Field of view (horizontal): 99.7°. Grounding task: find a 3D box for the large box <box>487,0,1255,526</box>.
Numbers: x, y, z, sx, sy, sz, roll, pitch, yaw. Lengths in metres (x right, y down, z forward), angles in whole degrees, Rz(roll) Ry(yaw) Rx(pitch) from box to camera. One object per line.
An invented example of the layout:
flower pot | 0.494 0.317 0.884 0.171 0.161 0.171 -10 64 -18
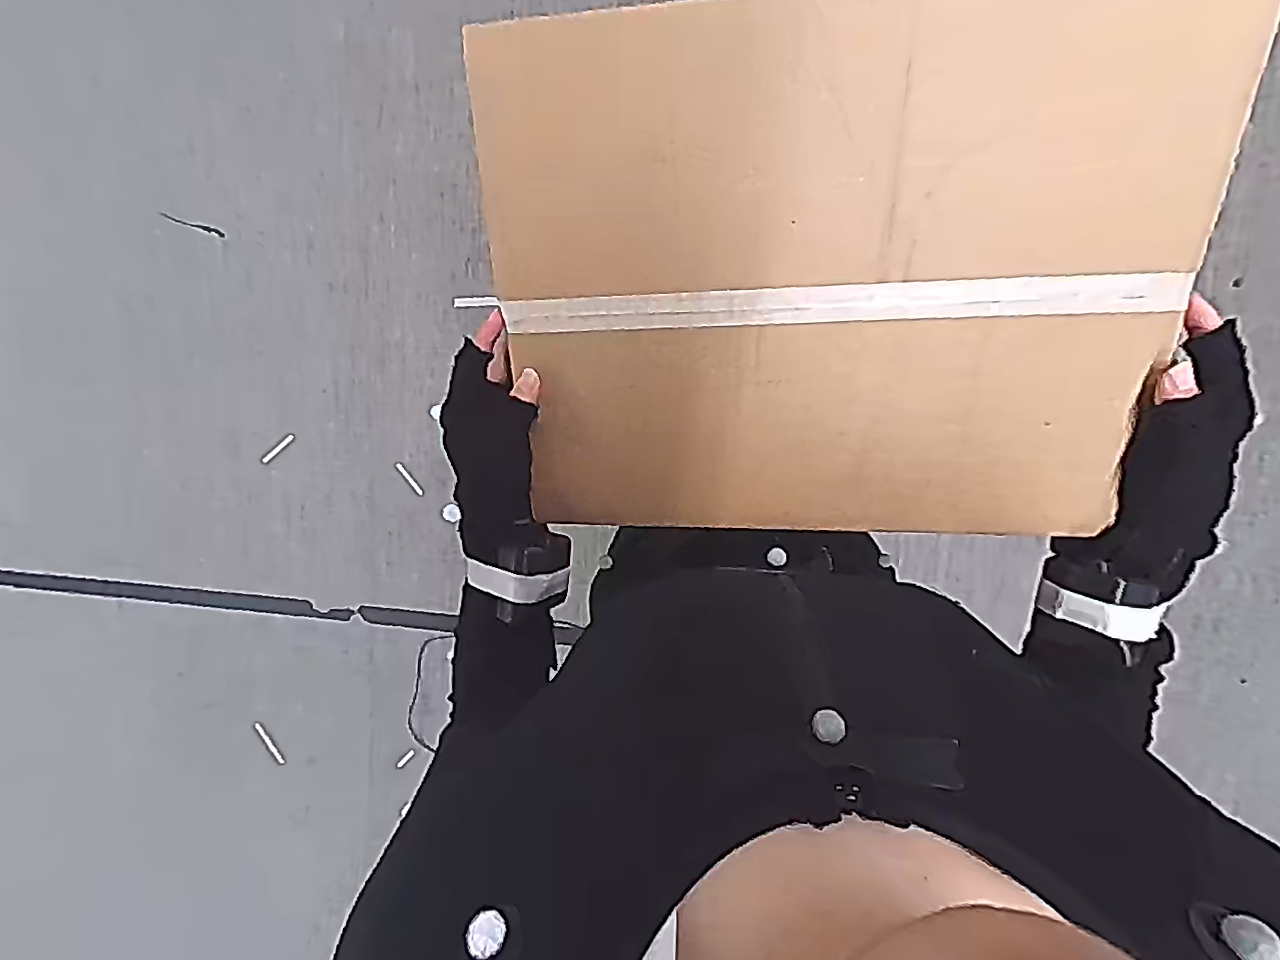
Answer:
large box | 0.130 -0.166 0.481 0.408 0.320 0.320 1 114 8
